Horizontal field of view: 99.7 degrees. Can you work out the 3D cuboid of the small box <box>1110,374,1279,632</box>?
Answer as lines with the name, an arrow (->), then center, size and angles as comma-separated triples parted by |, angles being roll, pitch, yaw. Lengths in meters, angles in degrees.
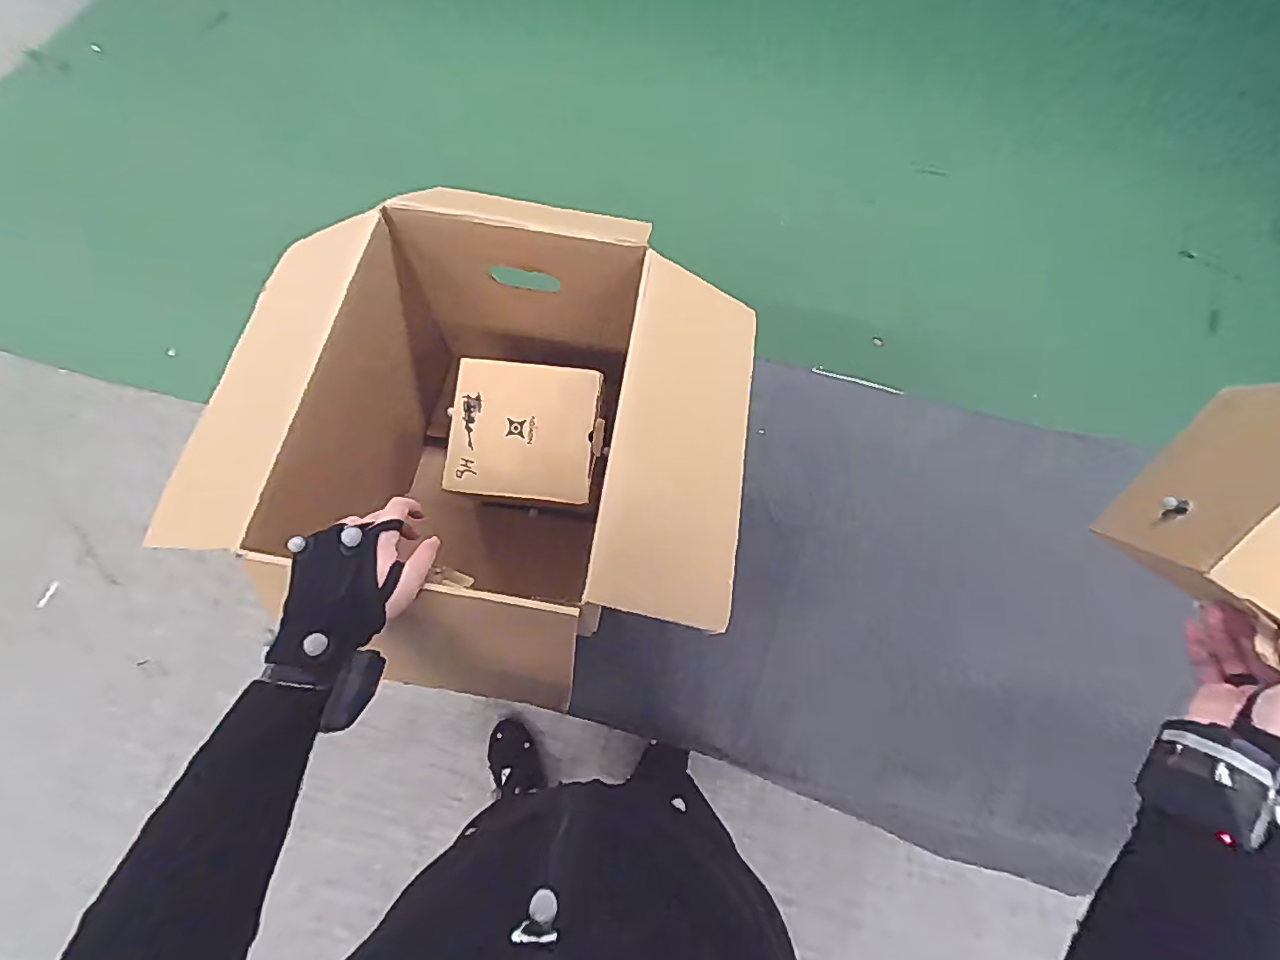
small box -> 0.548, 0.027, 0.444 | 0.168, 0.176, 0.179 | 36, 105, 8
